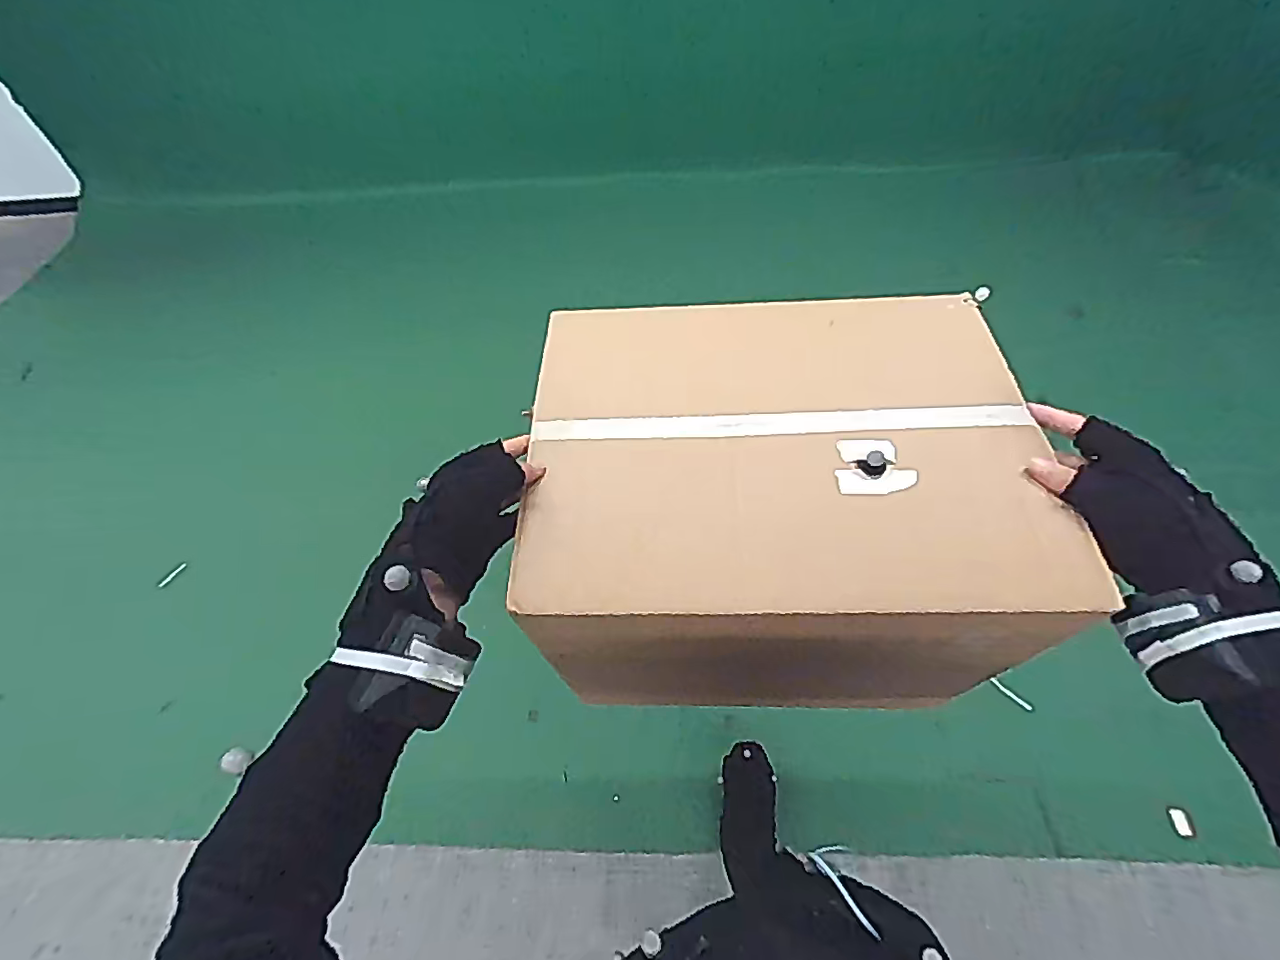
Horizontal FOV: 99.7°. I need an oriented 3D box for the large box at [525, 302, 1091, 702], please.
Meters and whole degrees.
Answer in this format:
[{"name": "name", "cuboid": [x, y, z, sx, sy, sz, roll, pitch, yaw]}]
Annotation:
[{"name": "large box", "cuboid": [0.121, 0.042, 0.584, 0.408, 0.320, 0.320, -2, 57, 4]}]
